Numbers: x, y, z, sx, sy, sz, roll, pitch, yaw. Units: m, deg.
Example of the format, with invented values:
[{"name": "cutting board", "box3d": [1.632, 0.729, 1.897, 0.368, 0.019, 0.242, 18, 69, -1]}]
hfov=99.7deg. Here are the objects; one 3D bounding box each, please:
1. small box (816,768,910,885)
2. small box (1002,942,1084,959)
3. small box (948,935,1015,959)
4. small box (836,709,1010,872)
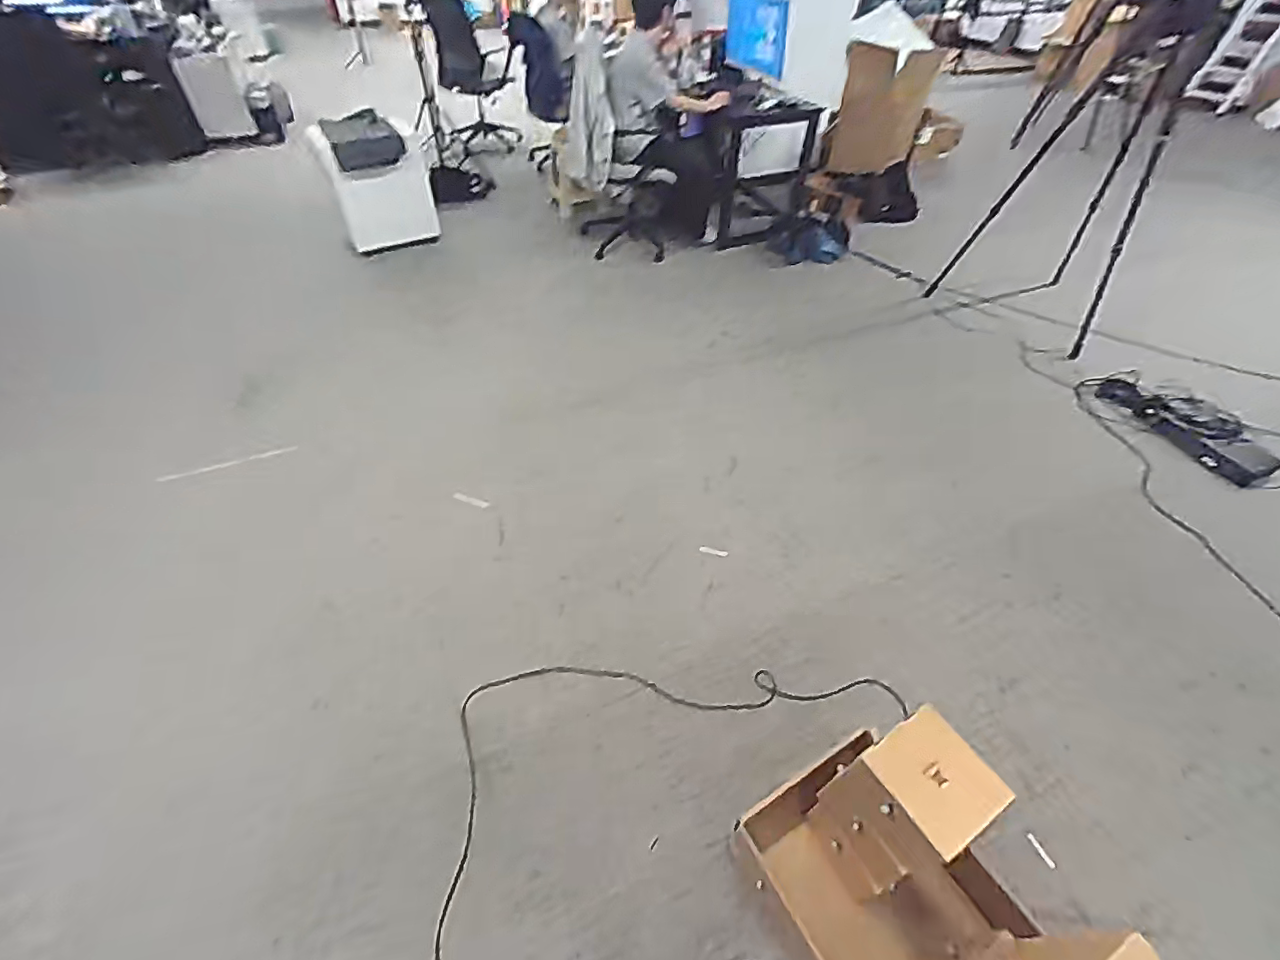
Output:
[{"name": "small box", "box3d": [0.472, 0.647, 1.051, 0.168, 0.176, 0.179, -21, 52, -17]}, {"name": "small box", "box3d": [0.643, 0.870, 0.843, 0.179, 0.176, 0.168, -20, 51, -19]}, {"name": "small box", "box3d": [0.635, 0.972, 0.972, 0.168, 0.176, 0.179, -20, 50, -19]}, {"name": "small box", "box3d": [0.473, 0.538, 0.931, 0.168, 0.176, 0.179, -25, 51, -20]}]
